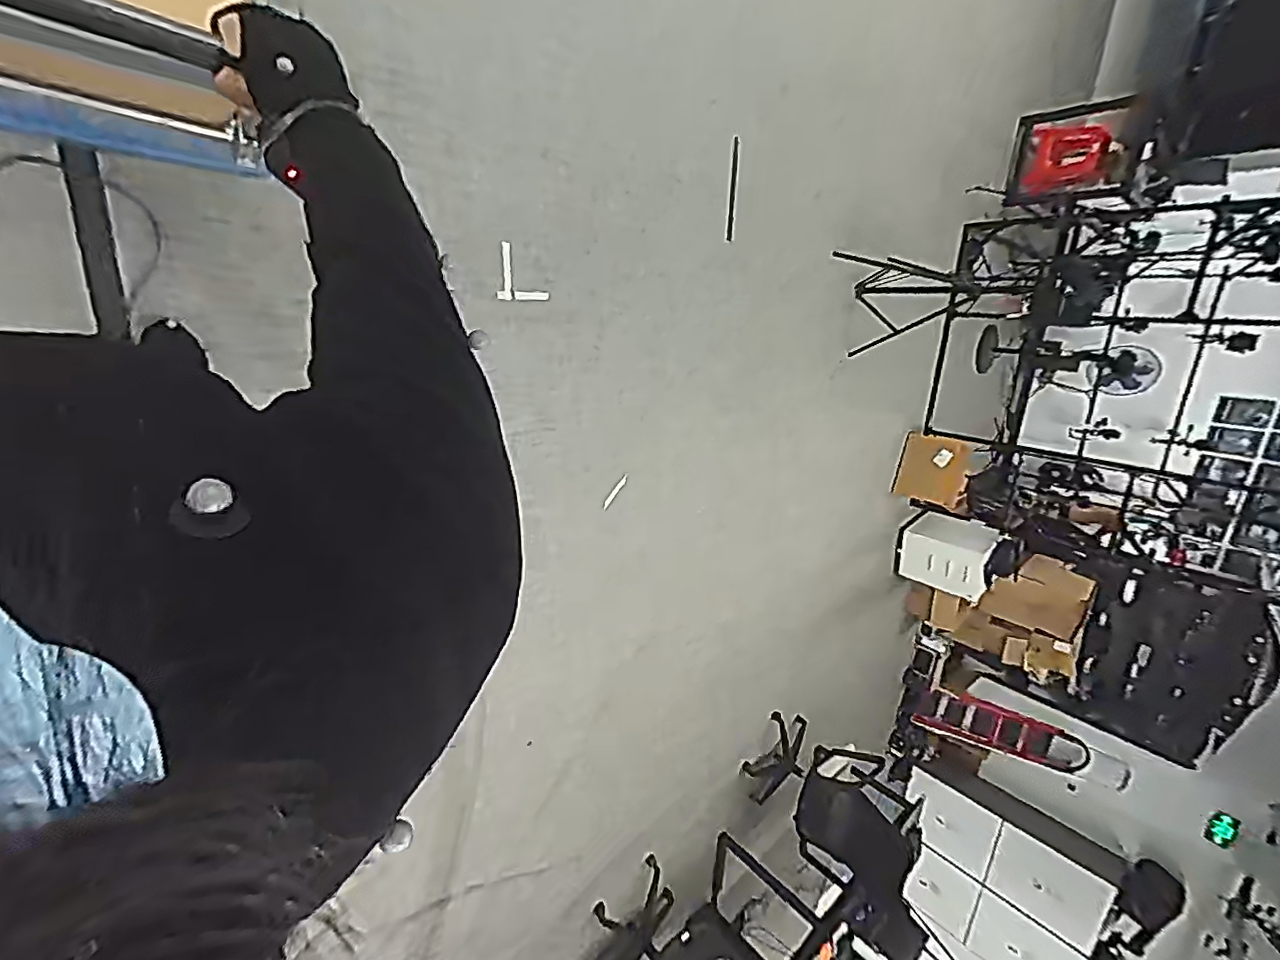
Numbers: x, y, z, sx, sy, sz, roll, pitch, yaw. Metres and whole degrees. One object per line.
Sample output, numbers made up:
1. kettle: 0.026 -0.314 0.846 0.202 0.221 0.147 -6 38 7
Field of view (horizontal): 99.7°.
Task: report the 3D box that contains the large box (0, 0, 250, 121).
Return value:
1. large box: -0.795 -0.726 0.701 0.408 0.320 0.320 -10 112 -43
